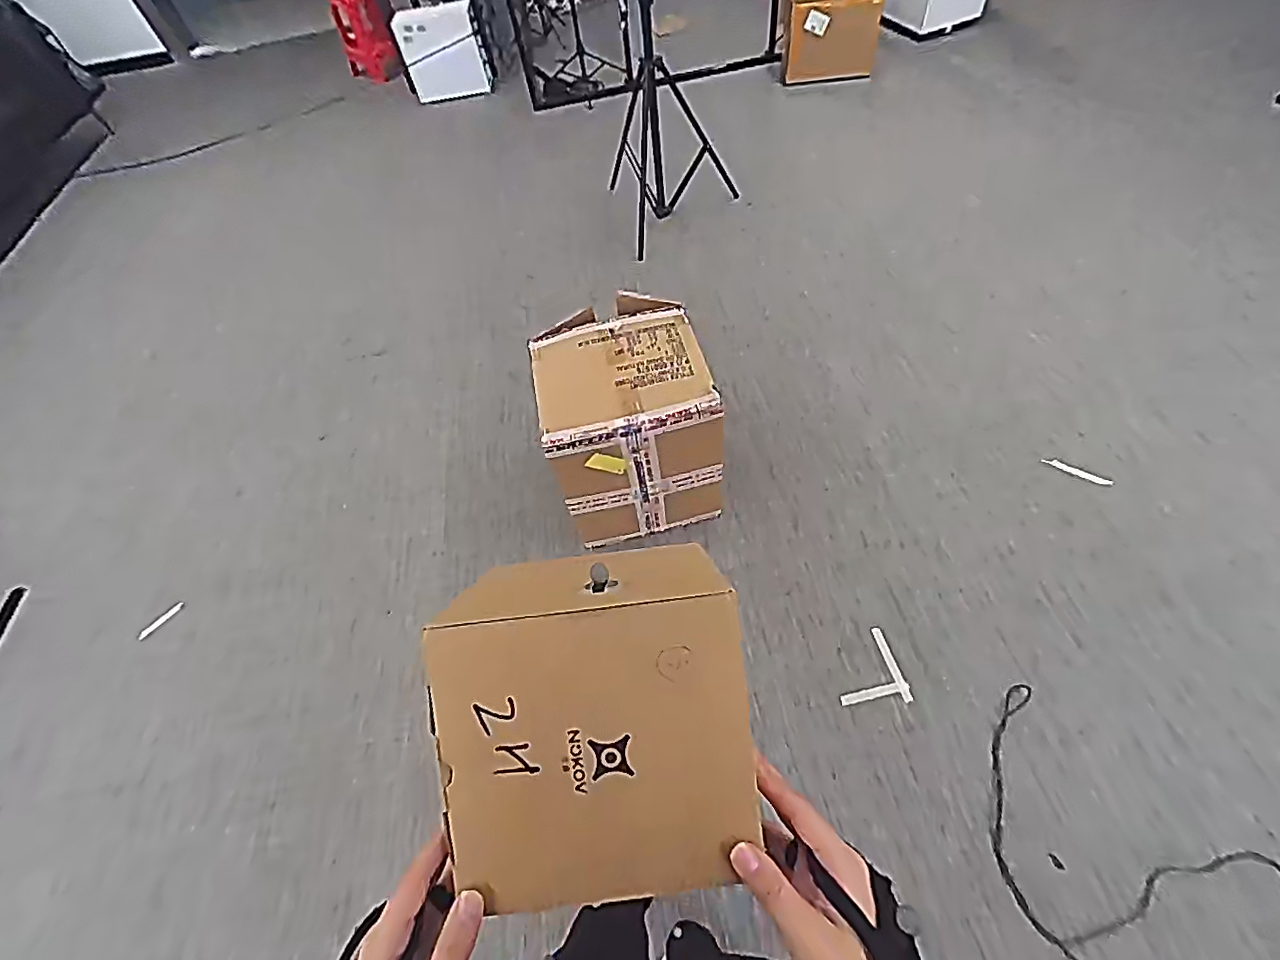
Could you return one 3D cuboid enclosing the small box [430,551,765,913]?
[{"bbox_3d":[-0.025,0.151,0.384,0.179,0.176,0.168,-7,92,-1],"label":"small box"}]
